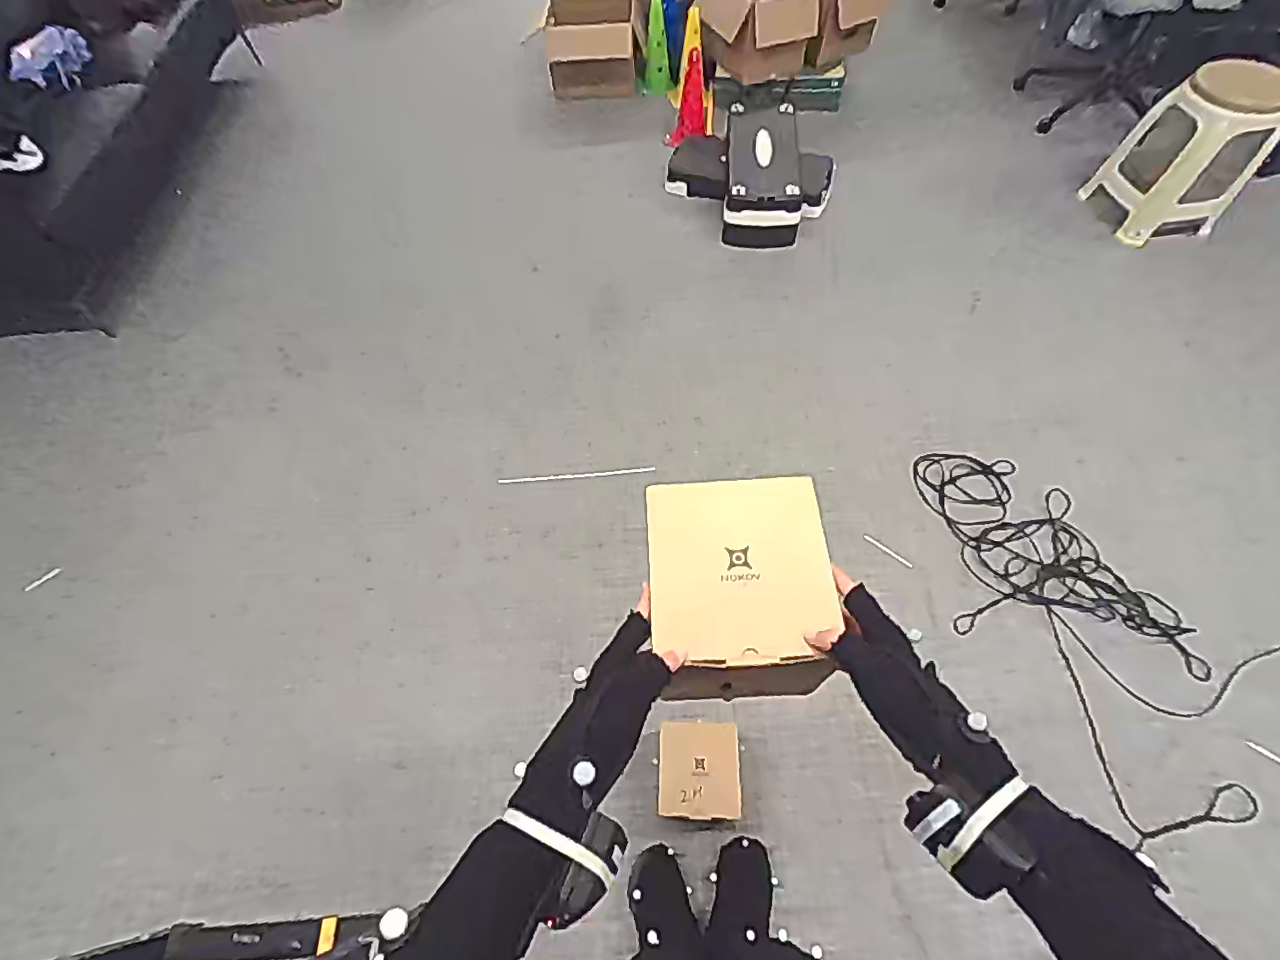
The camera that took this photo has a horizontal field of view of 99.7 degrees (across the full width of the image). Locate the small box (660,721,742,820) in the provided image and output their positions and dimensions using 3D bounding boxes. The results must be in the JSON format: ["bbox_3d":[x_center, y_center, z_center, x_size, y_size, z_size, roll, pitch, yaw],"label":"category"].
[{"bbox_3d":[0.130,0.634,1.183,0.168,0.176,0.179,0,61,4],"label":"small box"}]
